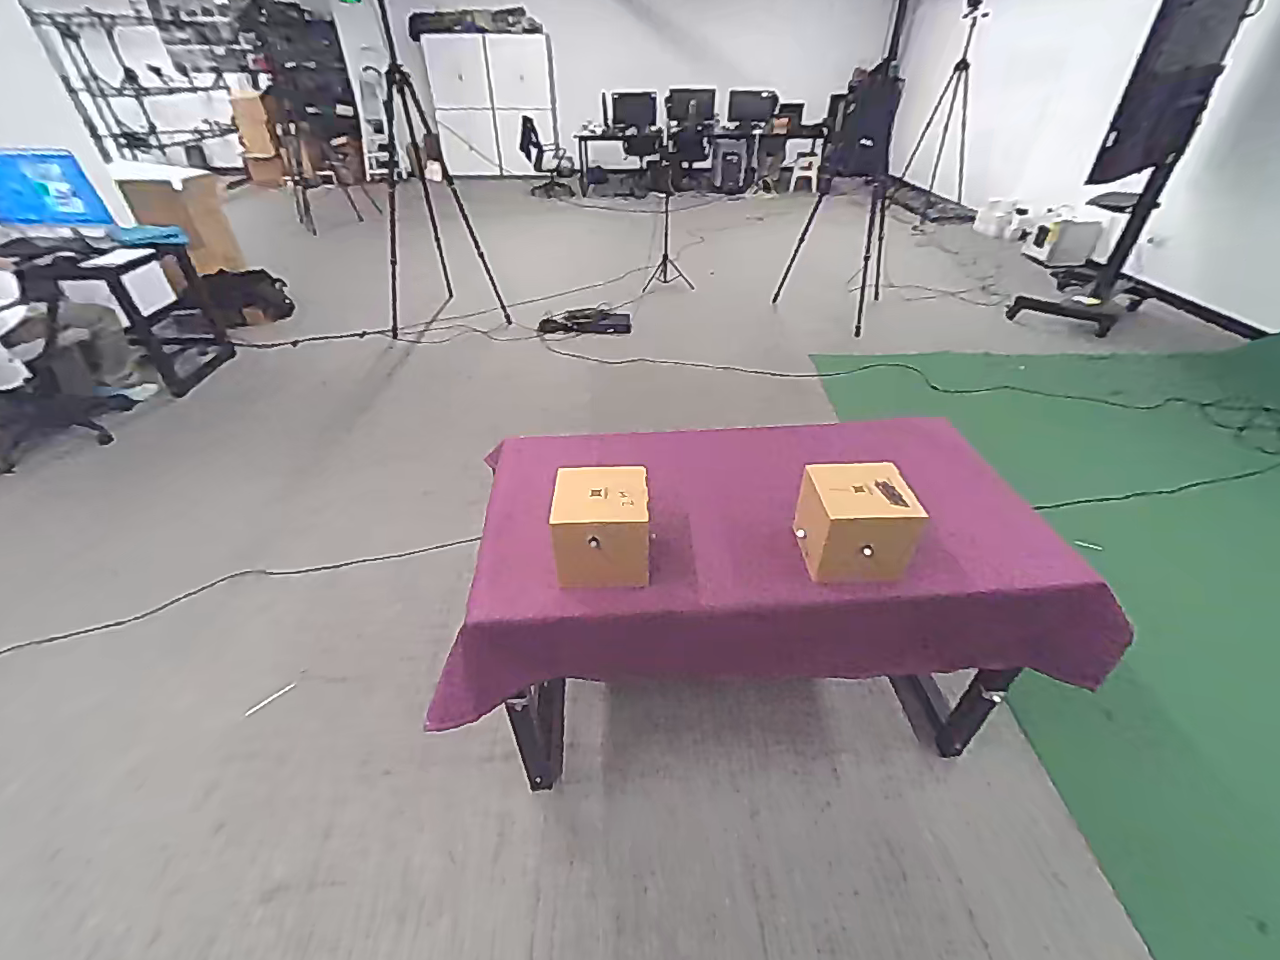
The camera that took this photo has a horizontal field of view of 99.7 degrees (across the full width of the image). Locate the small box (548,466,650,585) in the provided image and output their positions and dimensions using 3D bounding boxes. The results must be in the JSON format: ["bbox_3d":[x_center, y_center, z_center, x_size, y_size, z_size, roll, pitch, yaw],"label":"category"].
[{"bbox_3d":[-0.071,0.088,1.042,0.179,0.176,0.168,-1,38,0],"label":"small box"}]

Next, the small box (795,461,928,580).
[{"bbox_3d":[0.415,0.079,1.045,0.179,0.176,0.168,-2,37,0],"label":"small box"}]
